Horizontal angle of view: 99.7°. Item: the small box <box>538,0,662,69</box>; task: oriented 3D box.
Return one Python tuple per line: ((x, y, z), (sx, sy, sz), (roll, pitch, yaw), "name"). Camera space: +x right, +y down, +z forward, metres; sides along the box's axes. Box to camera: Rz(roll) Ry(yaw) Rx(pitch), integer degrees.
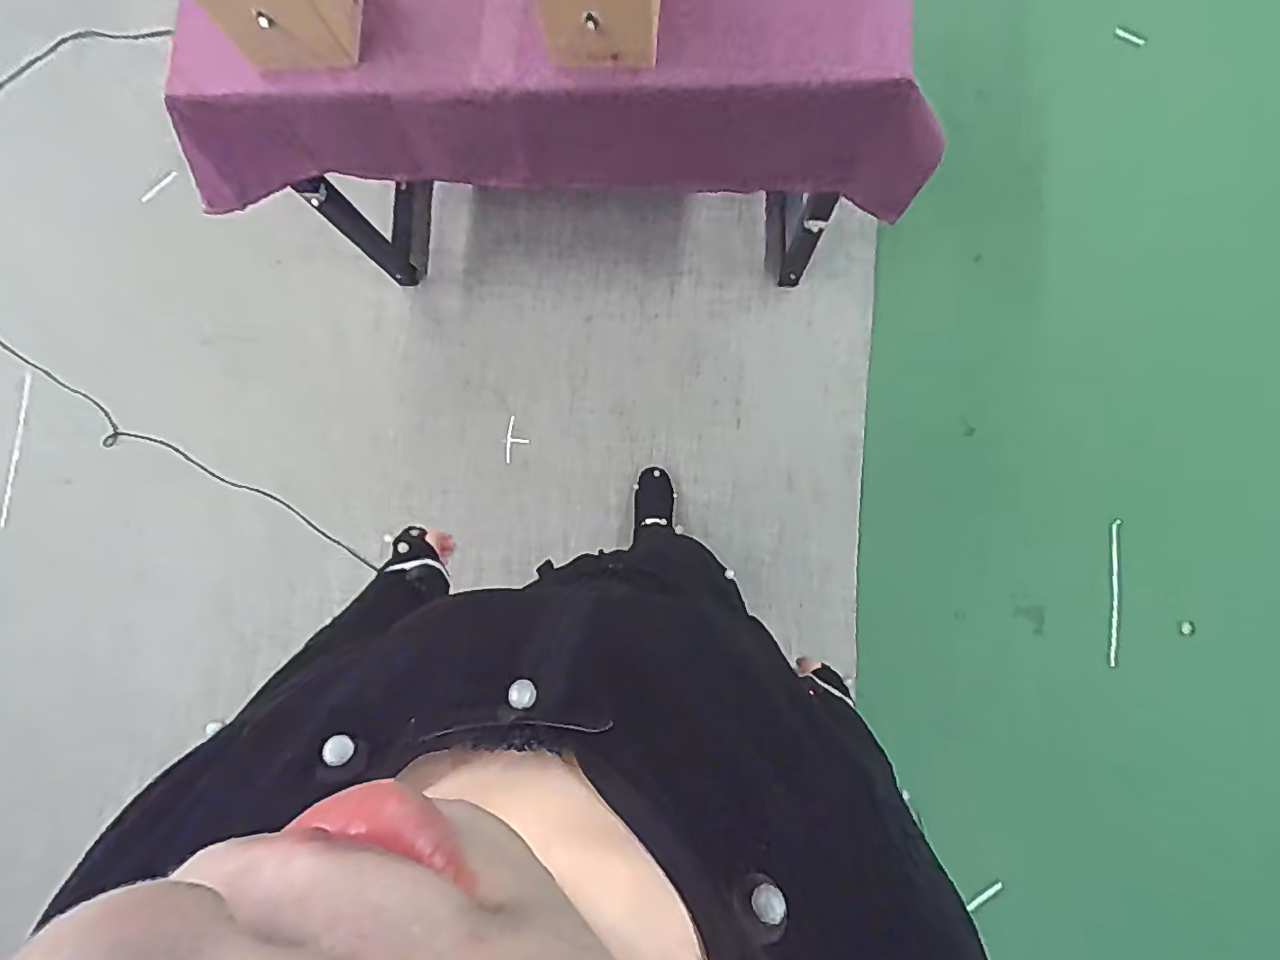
((-0.053, -0.740, 0.781), (0.168, 0.176, 0.179), (5, 84, 3), "small box")
